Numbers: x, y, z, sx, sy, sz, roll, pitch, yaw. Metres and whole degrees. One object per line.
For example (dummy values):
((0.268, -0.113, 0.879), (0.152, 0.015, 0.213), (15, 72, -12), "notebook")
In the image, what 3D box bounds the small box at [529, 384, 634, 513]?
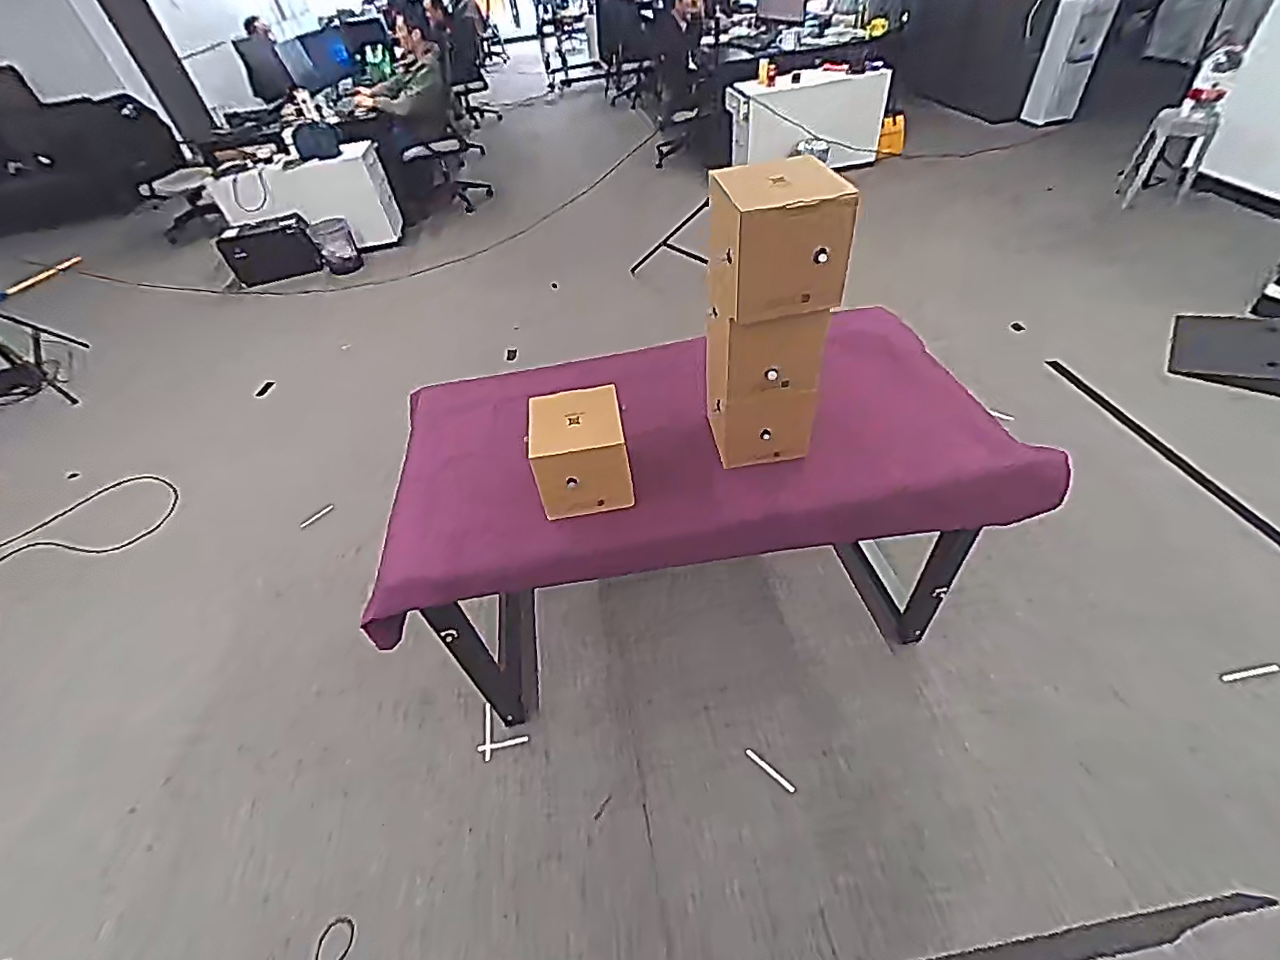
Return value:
((-0.109, -0.053, 1.020), (0.168, 0.176, 0.179), (-10, 45, -2), "small box")

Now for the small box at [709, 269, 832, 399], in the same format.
((0.217, -0.267, 0.953), (0.168, 0.176, 0.179), (-9, 46, 0), "small box")

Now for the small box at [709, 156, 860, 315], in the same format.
((0.206, -0.364, 0.821), (0.168, 0.176, 0.179), (-10, 45, -3), "small box")

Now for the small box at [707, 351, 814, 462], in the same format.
((0.230, -0.150, 1.067), (0.168, 0.176, 0.179), (-8, 45, -1), "small box")
